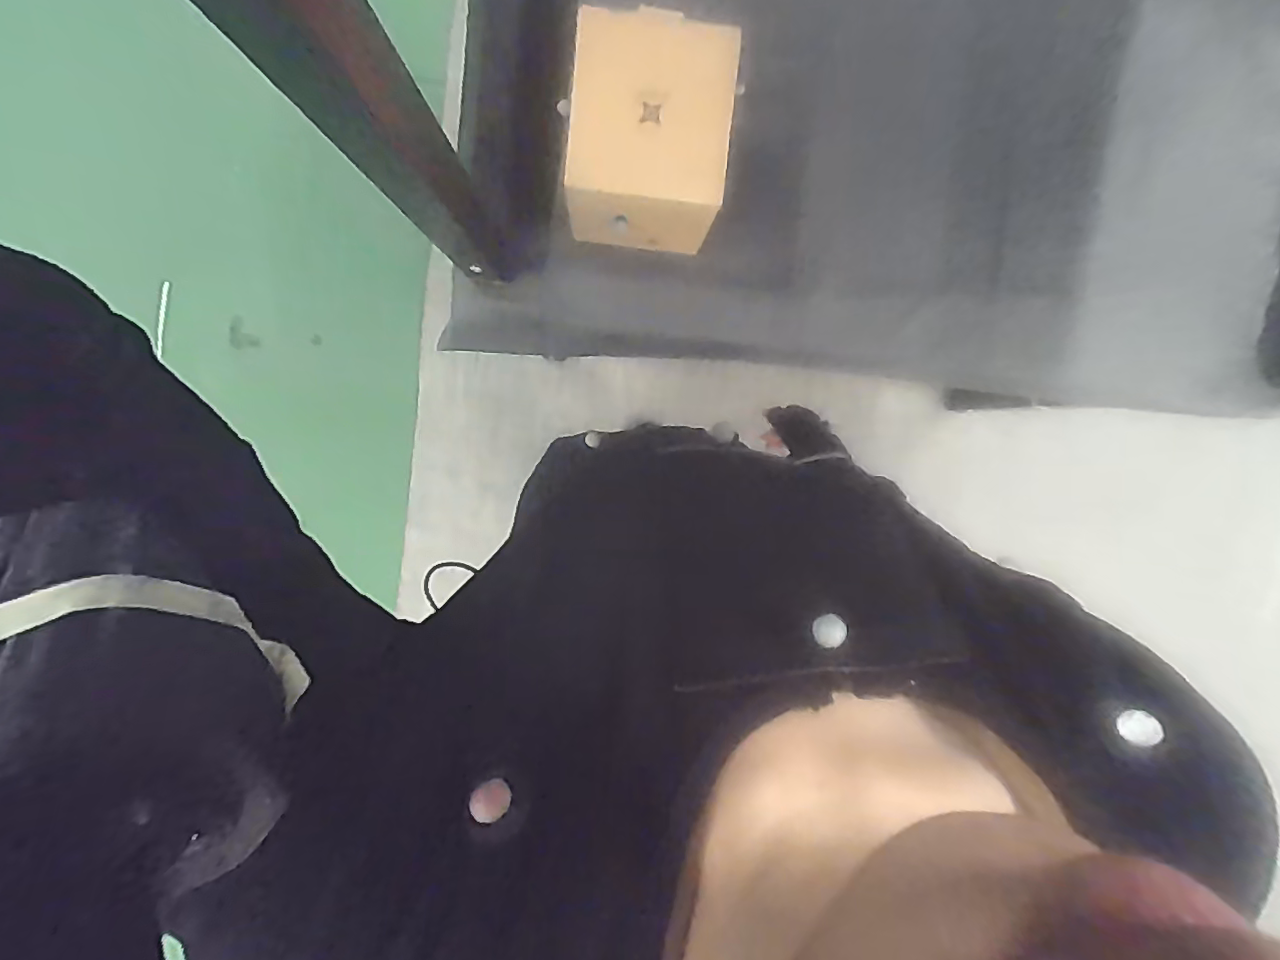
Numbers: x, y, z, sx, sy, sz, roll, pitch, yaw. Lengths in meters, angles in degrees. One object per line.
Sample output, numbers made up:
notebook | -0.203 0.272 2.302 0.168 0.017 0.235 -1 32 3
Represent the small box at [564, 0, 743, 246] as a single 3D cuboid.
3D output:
small box | 0.010 -0.387 0.618 0.168 0.176 0.179 5 95 -3
